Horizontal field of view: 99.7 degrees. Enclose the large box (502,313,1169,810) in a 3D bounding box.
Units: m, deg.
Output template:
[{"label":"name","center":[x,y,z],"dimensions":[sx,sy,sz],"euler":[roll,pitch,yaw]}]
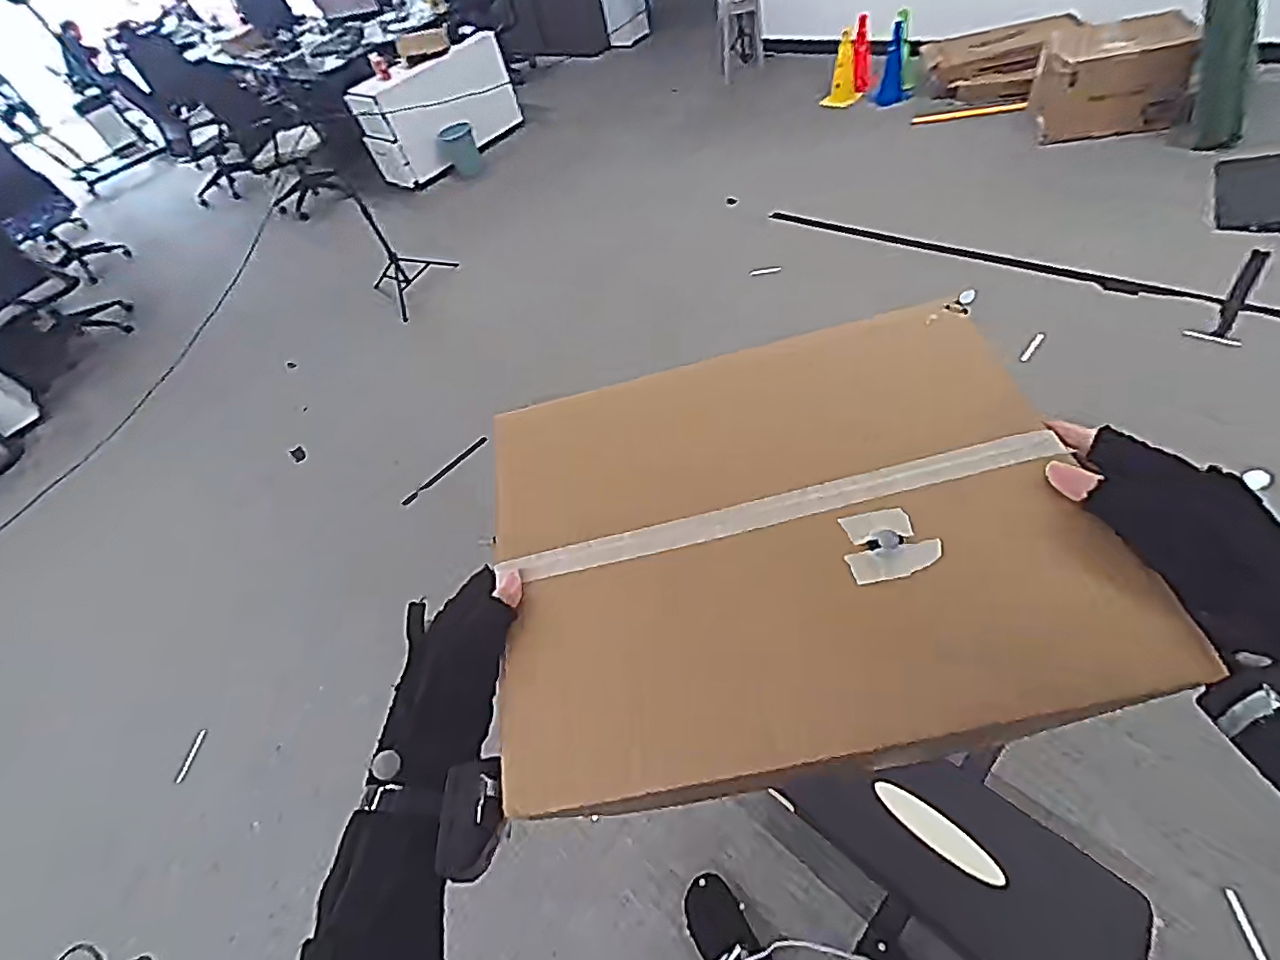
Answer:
[{"label":"large box","center":[0.117,0.104,0.527],"dimensions":[0.408,0.320,0.320],"euler":[-14,58,4]}]
